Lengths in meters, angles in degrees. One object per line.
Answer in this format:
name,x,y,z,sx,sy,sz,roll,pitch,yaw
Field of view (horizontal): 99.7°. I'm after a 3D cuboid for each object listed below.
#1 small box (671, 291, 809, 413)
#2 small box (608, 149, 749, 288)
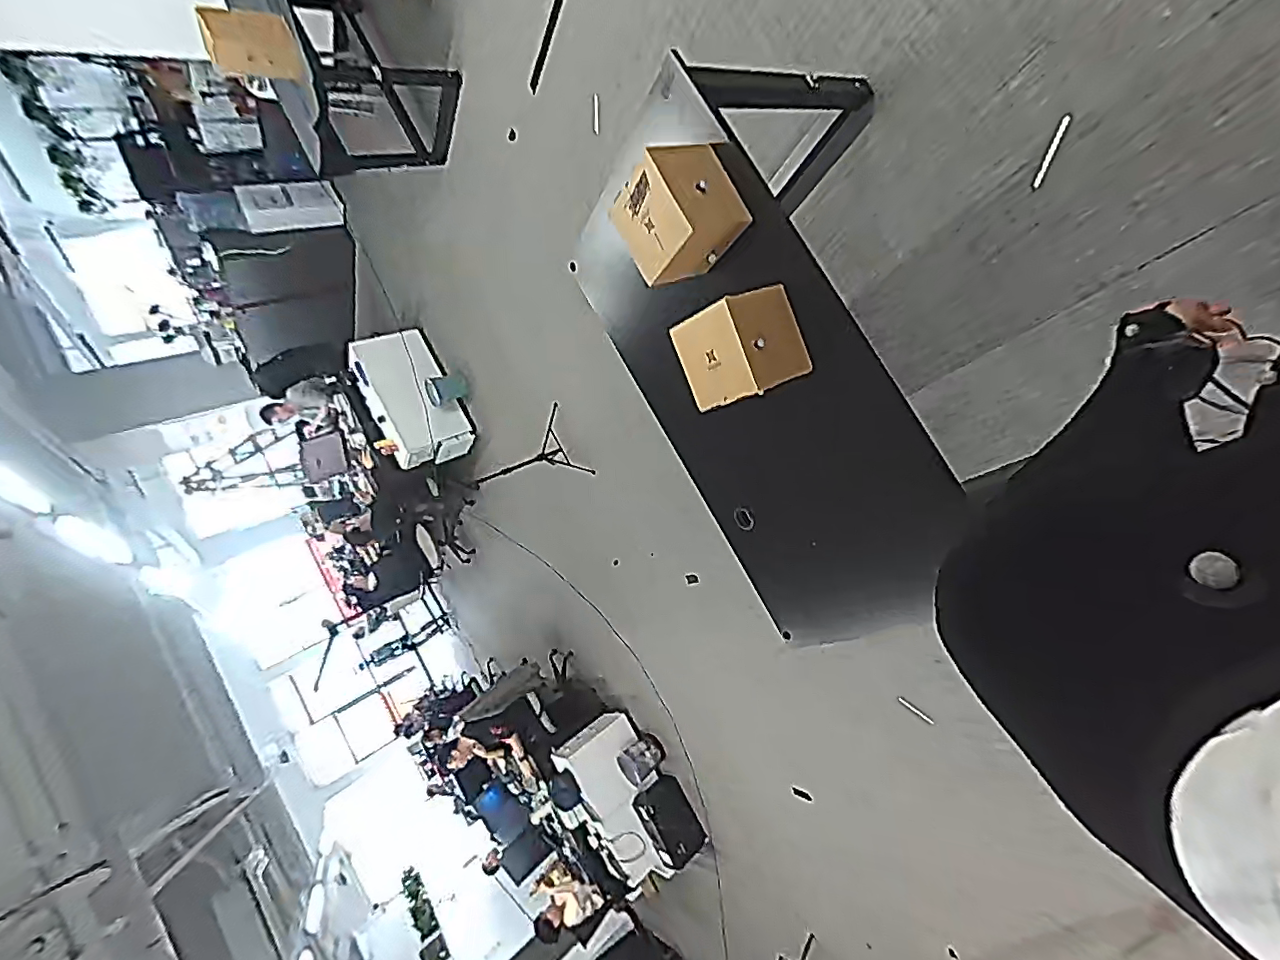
small box,0.196,-0.252,1.054,0.168,0.176,0.179,-13,101,57
small box,0.074,-0.505,1.045,0.179,0.176,0.168,61,148,3
